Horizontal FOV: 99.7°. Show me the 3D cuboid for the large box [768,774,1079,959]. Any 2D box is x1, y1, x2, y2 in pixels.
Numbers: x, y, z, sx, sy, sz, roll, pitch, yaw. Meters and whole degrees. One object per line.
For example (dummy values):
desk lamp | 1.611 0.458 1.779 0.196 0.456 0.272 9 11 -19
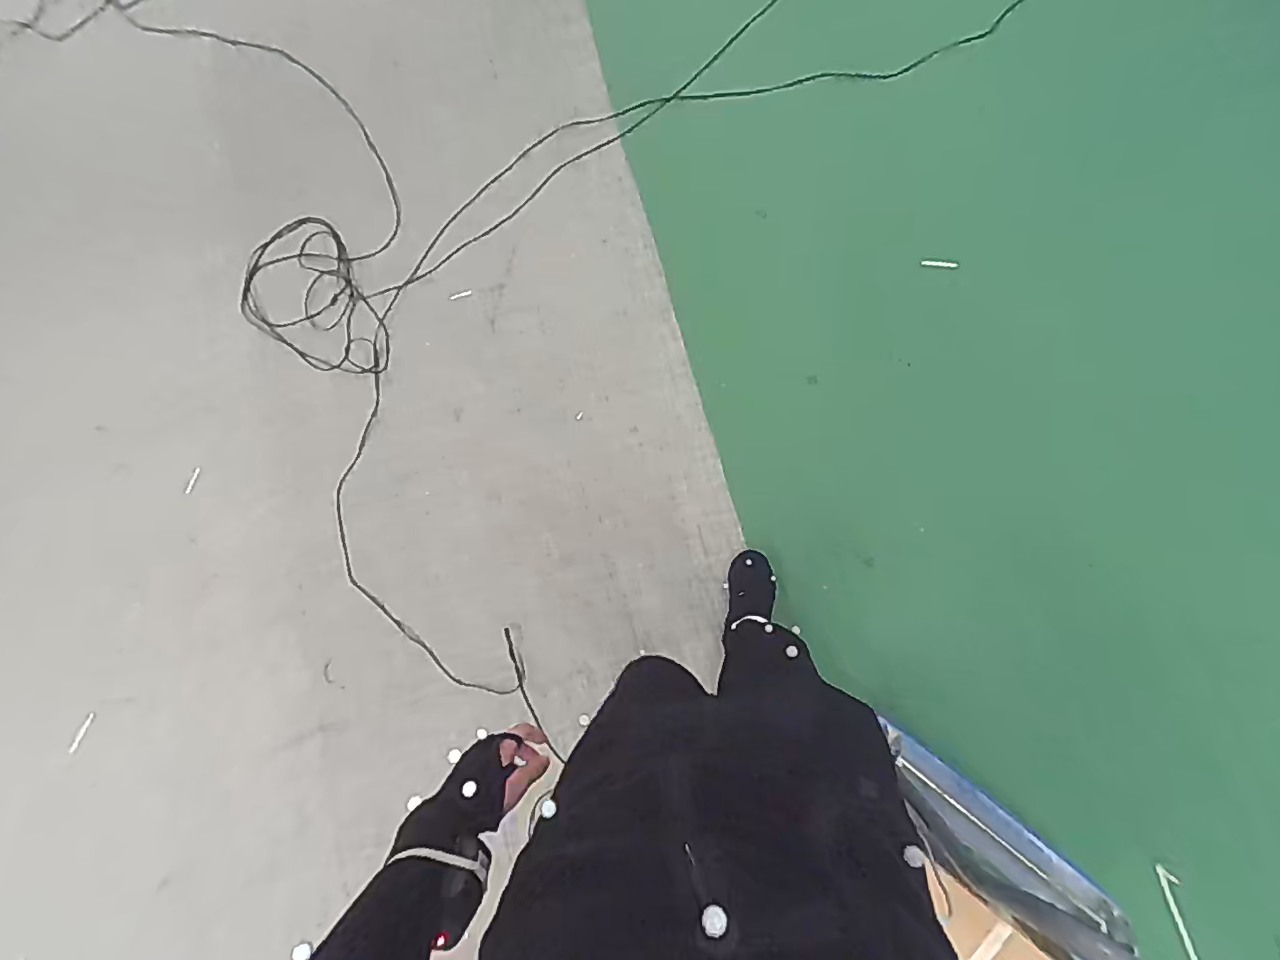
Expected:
large box | 0.470 0.836 0.956 0.320 0.320 0.408 36 91 14
